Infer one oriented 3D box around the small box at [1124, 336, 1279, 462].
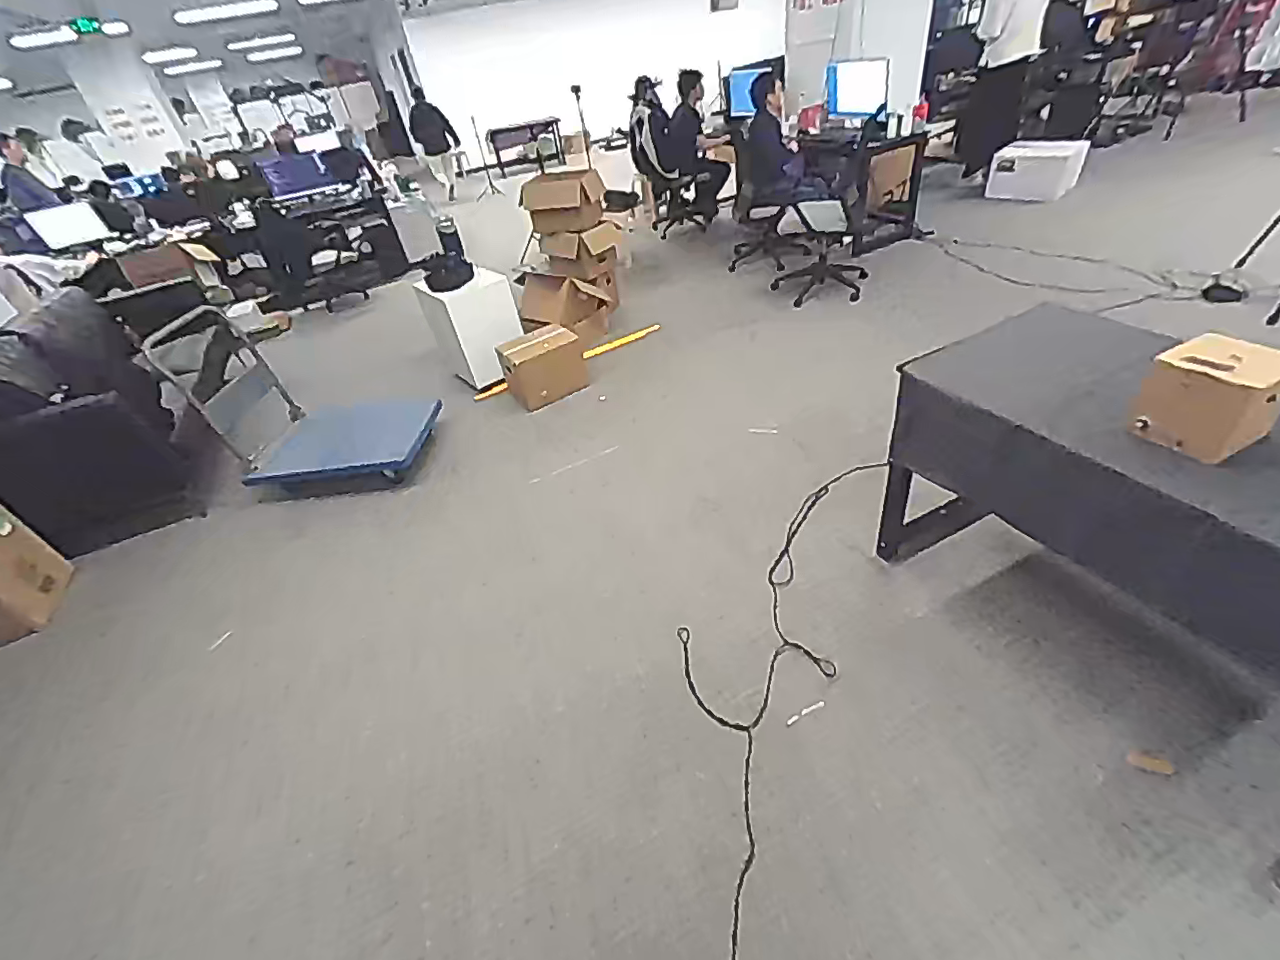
[{"bbox_3d":[1.120,-0.159,1.073,0.179,0.176,0.168,-22,39,-15],"label":"small box"}]
